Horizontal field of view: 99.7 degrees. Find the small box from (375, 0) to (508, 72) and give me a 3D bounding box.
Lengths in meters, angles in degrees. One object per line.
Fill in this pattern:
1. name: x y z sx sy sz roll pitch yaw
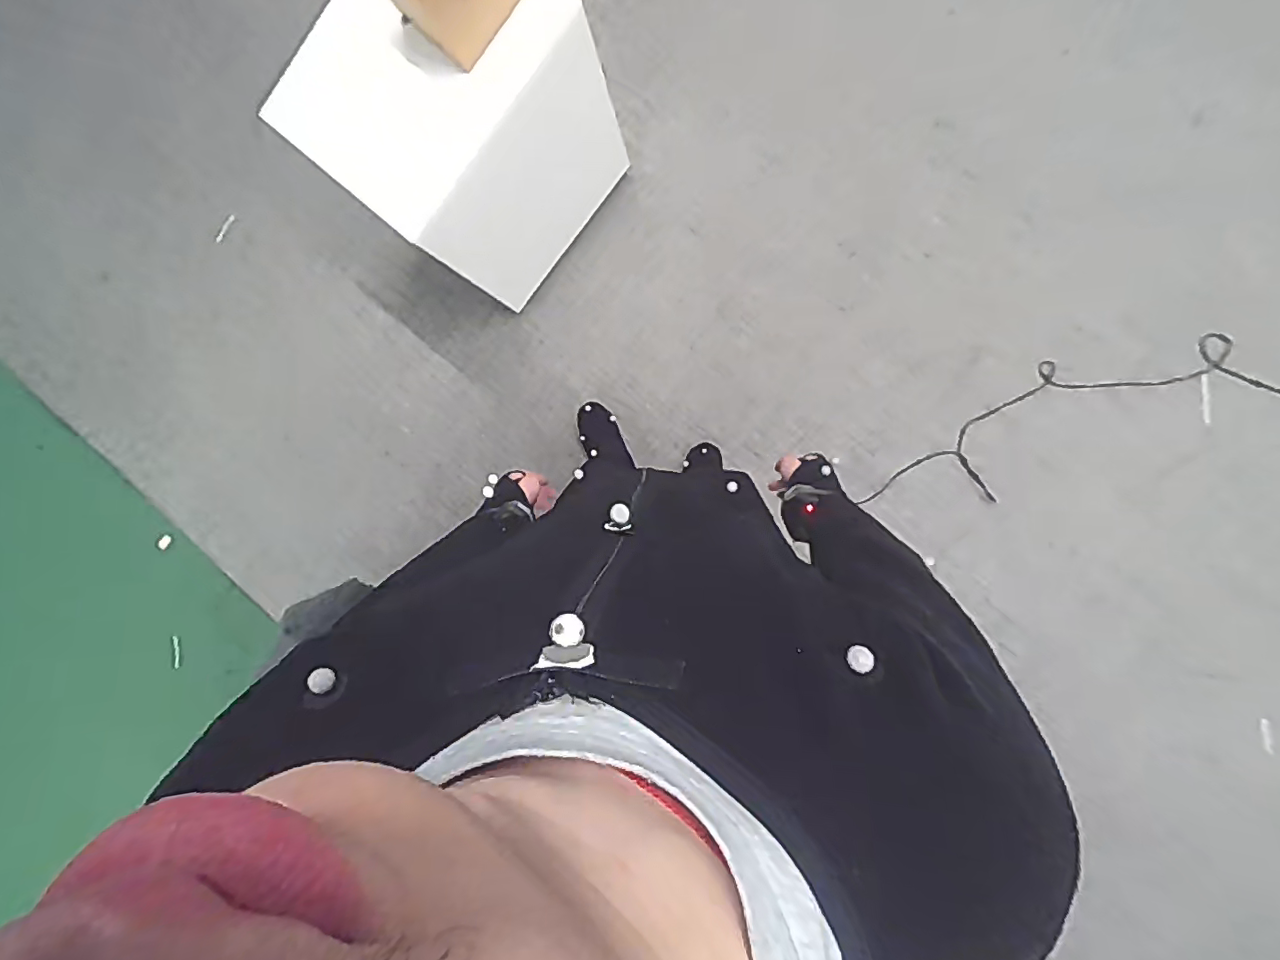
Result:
1. small box: -0.335 -0.811 0.855 0.168 0.176 0.179 40 95 2
